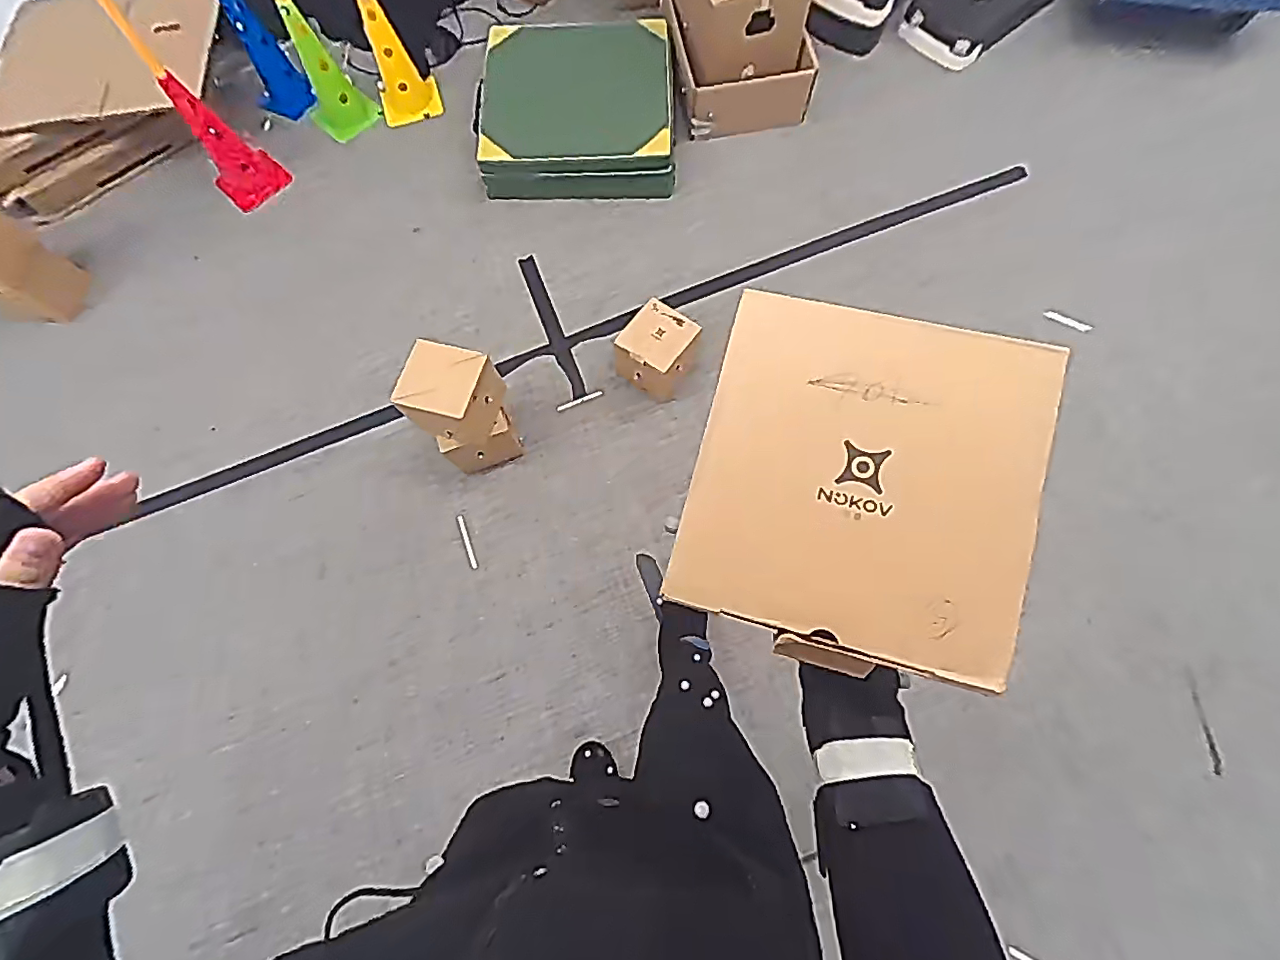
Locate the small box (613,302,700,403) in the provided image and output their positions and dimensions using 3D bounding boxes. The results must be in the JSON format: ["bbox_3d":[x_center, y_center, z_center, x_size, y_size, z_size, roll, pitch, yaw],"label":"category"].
[{"bbox_3d":[0.048,-0.345,1.496,0.168,0.176,0.179,36,77,11],"label":"small box"}]

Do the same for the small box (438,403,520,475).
[{"bbox_3d":[-0.431,-0.134,1.441,0.179,0.176,0.168,-20,72,-4],"label":"small box"}]

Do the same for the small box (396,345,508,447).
[{"bbox_3d":[-0.441,-0.197,1.286,0.179,0.176,0.168,13,72,7],"label":"small box"}]

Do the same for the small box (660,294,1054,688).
[{"bbox_3d":[0.123,0.010,0.360,0.168,0.176,0.179,15,83,10],"label":"small box"}]
